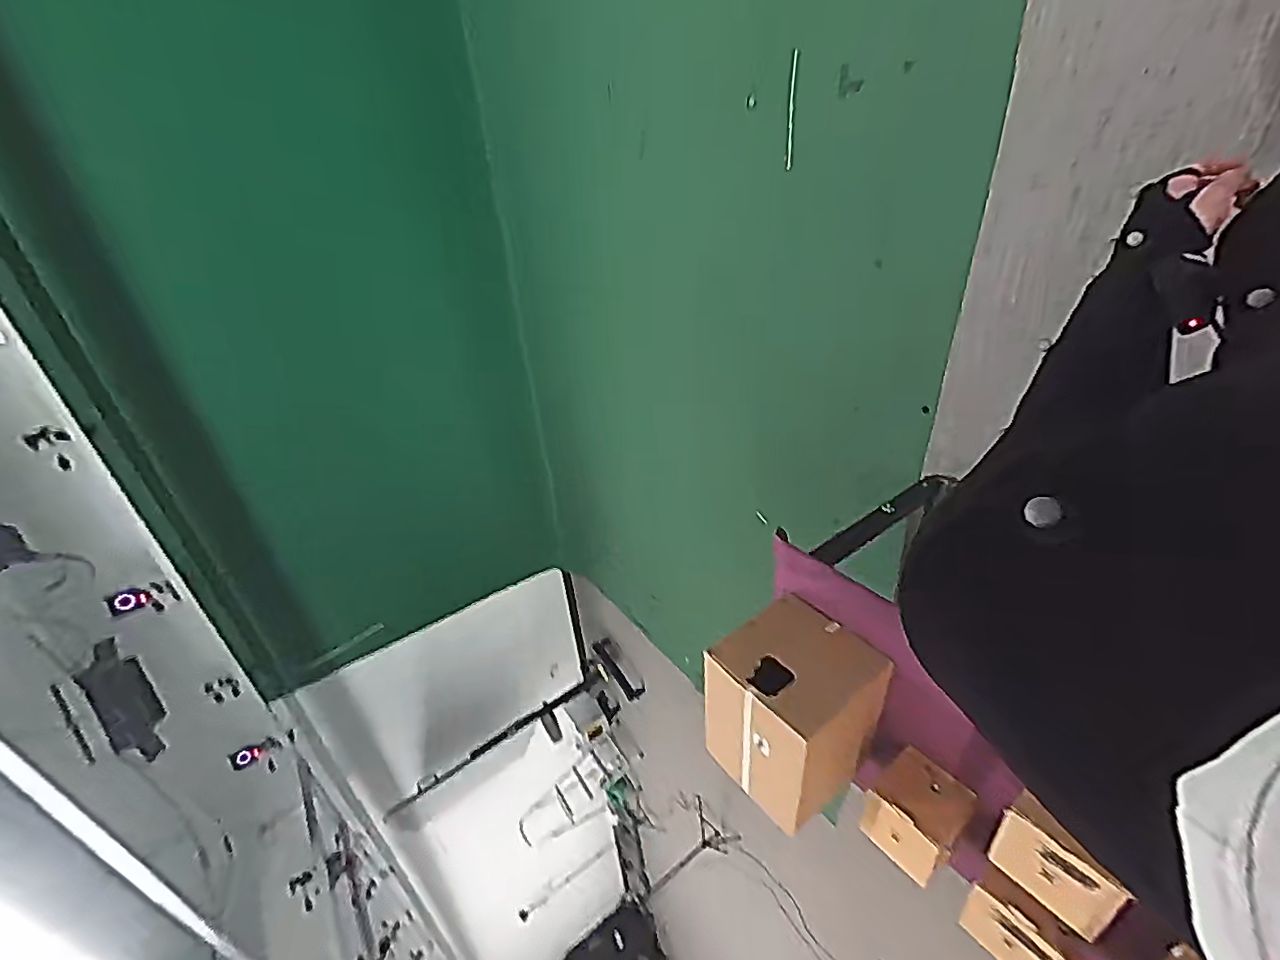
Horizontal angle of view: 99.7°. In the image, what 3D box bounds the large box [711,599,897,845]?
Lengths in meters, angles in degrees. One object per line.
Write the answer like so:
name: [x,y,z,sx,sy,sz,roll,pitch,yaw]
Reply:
large box: [0.397,0.588,1.360,0.320,0.320,0.408,31,135,45]
